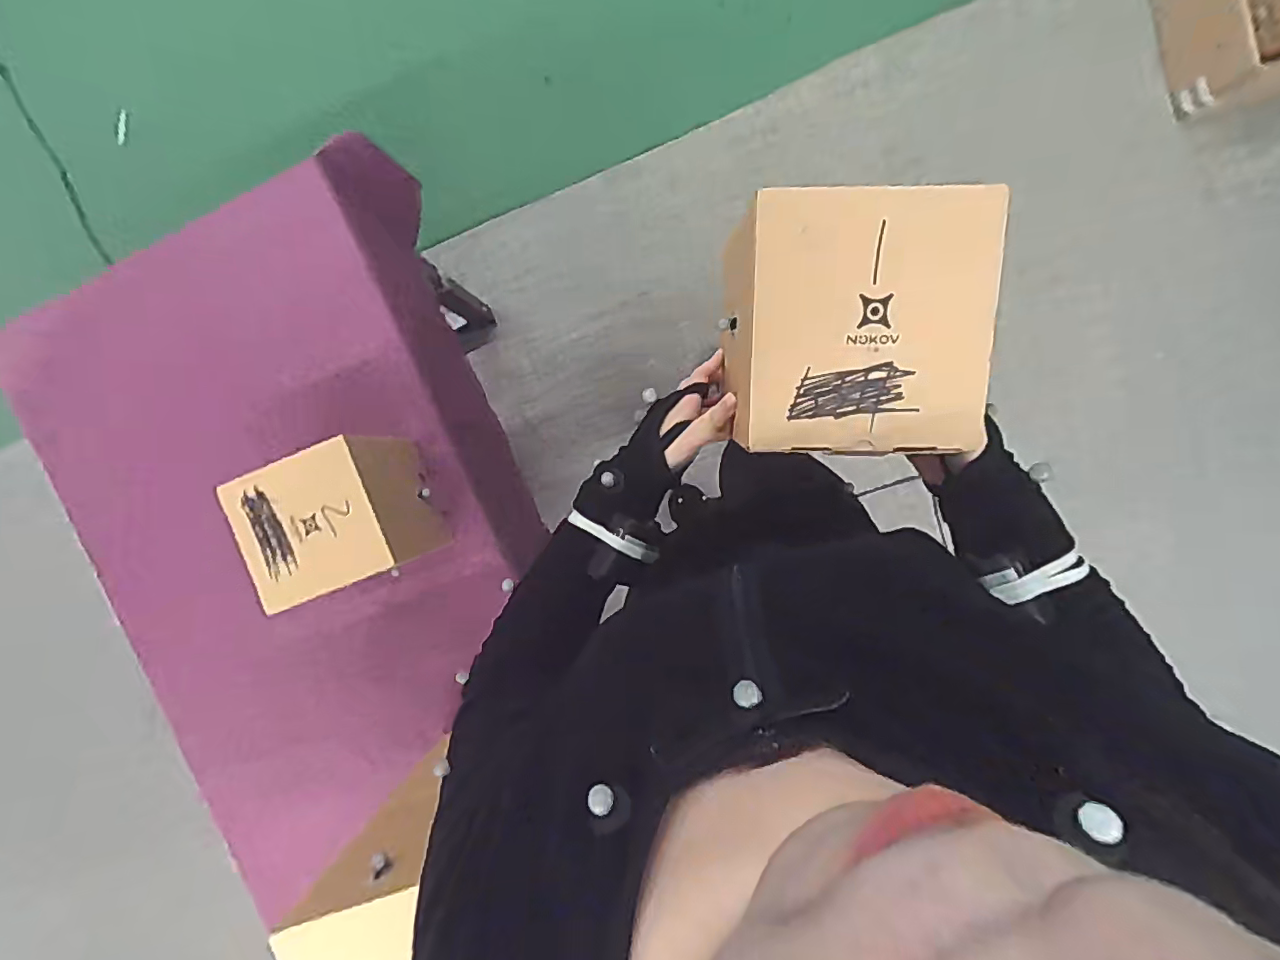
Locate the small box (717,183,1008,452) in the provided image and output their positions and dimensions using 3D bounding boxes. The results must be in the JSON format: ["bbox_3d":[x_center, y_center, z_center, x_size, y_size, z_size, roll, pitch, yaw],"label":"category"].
[{"bbox_3d":[0.156,-0.122,0.443,0.168,0.176,0.179,1,100,2],"label":"small box"}]

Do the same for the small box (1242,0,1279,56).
[{"bbox_3d":[1.481,-1.079,1.172,0.179,0.176,0.168,-18,91,7],"label":"small box"}]
